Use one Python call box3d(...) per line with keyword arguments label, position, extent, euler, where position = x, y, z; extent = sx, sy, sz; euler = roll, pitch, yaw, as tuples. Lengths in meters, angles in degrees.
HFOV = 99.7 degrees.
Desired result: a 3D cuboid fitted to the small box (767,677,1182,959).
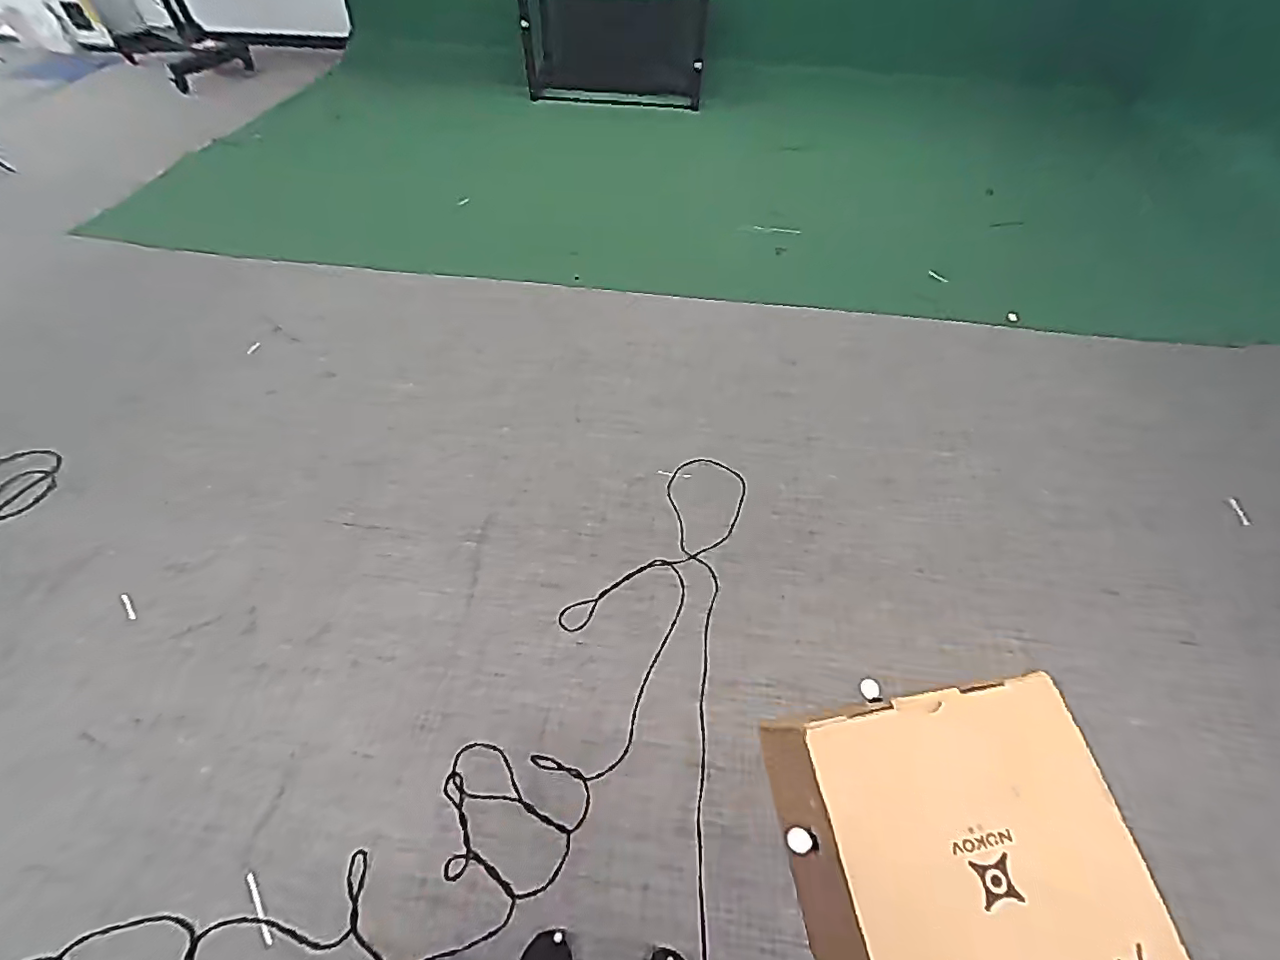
box3d(label="small box", position=(0.202, 0.254, 0.385), extent=(0.168, 0.176, 0.179), euler=(-10, 65, -4))
